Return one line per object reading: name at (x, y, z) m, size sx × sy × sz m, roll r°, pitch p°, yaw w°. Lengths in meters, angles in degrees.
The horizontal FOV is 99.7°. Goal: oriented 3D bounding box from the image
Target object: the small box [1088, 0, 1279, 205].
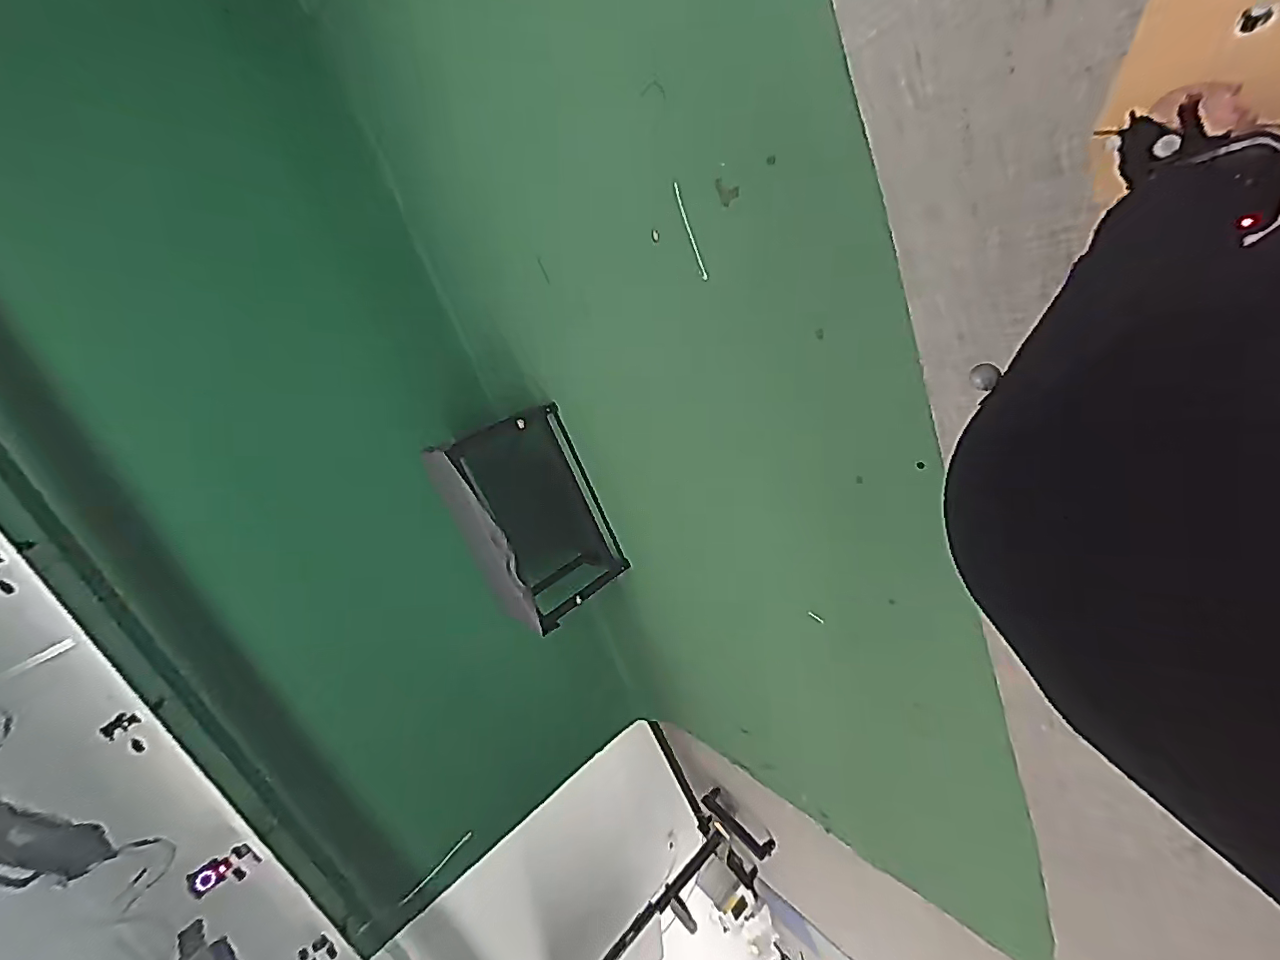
small box at (0.574, -0.391, 0.527) m, size 0.168 × 0.179 × 0.176 m, roll 26°, pitch 107°, yaw 37°
